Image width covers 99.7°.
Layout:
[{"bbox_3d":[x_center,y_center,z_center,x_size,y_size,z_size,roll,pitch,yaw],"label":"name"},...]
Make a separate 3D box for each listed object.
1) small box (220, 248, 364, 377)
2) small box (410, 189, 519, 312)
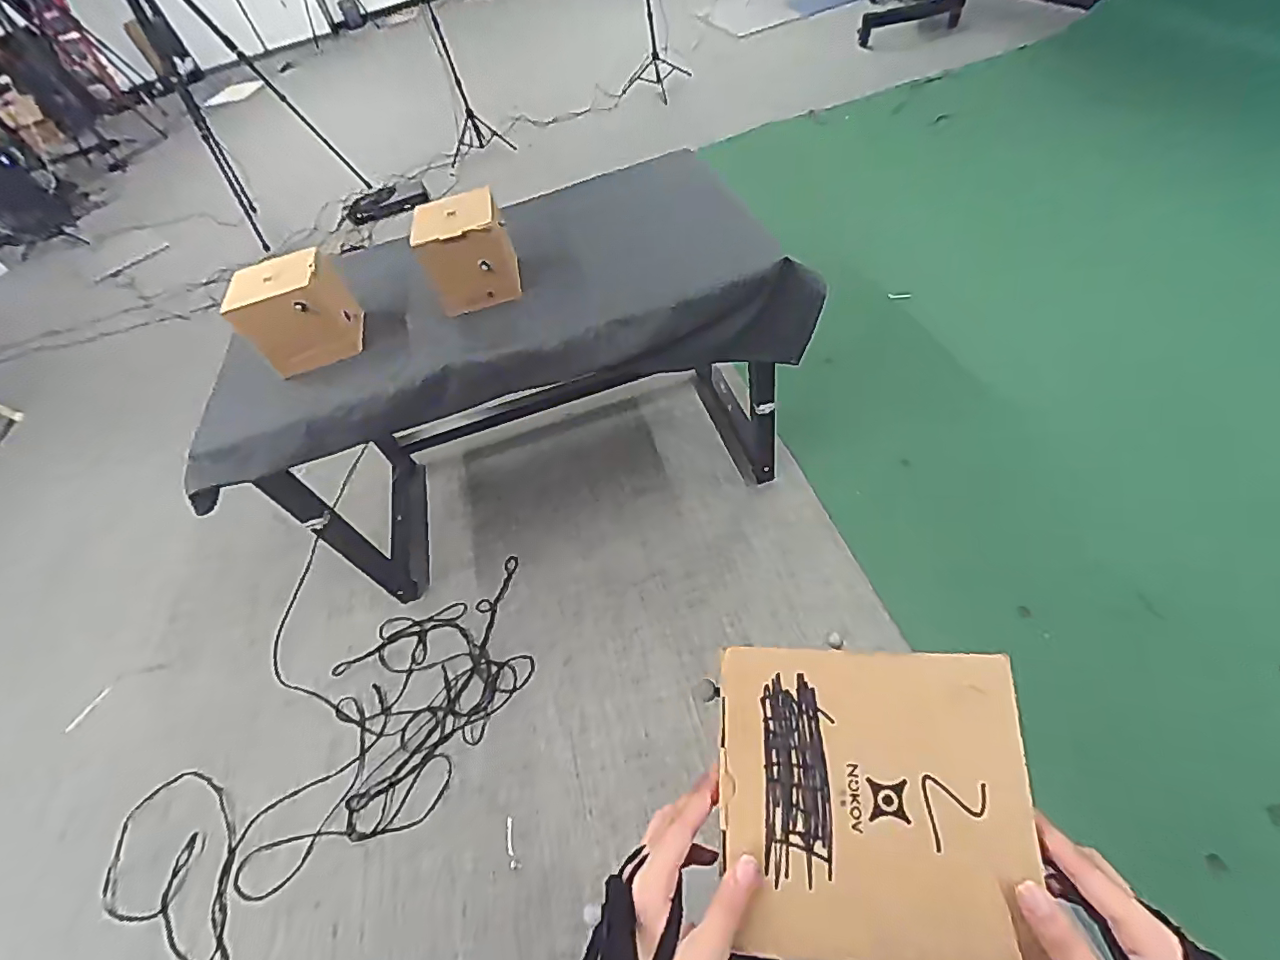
[{"bbox_3d":[-0.702,-0.339,1.113,0.179,0.176,0.168,-19,51,-3],"label":"small box"},{"bbox_3d":[-0.361,-0.475,1.140,0.168,0.176,0.179,-15,50,0],"label":"small box"}]
